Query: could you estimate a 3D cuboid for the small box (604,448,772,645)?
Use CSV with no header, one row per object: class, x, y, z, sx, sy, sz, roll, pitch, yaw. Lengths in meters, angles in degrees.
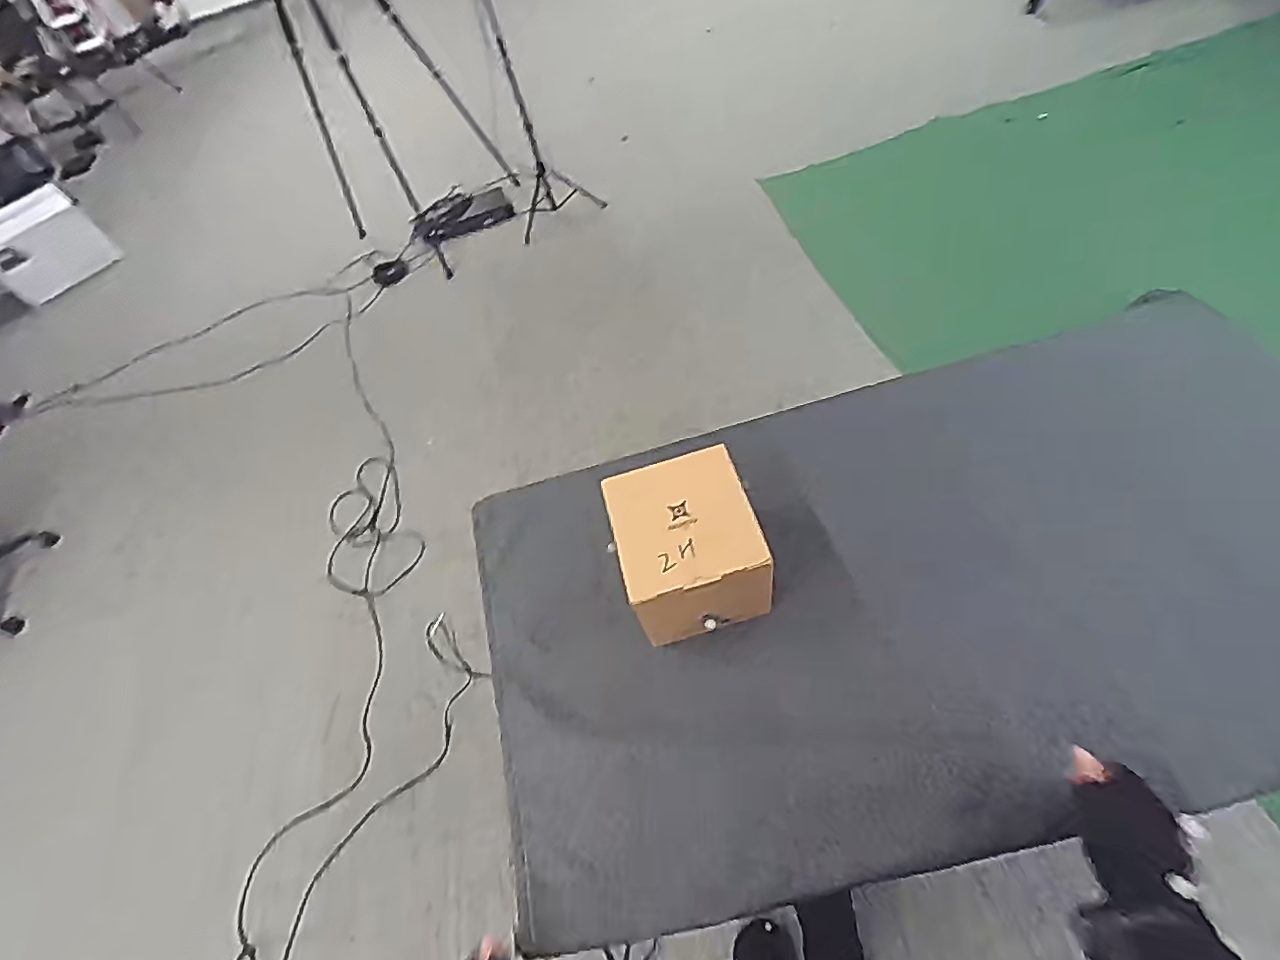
small box,0.062,0.092,0.710,0.168,0.176,0.179,-17,56,1
